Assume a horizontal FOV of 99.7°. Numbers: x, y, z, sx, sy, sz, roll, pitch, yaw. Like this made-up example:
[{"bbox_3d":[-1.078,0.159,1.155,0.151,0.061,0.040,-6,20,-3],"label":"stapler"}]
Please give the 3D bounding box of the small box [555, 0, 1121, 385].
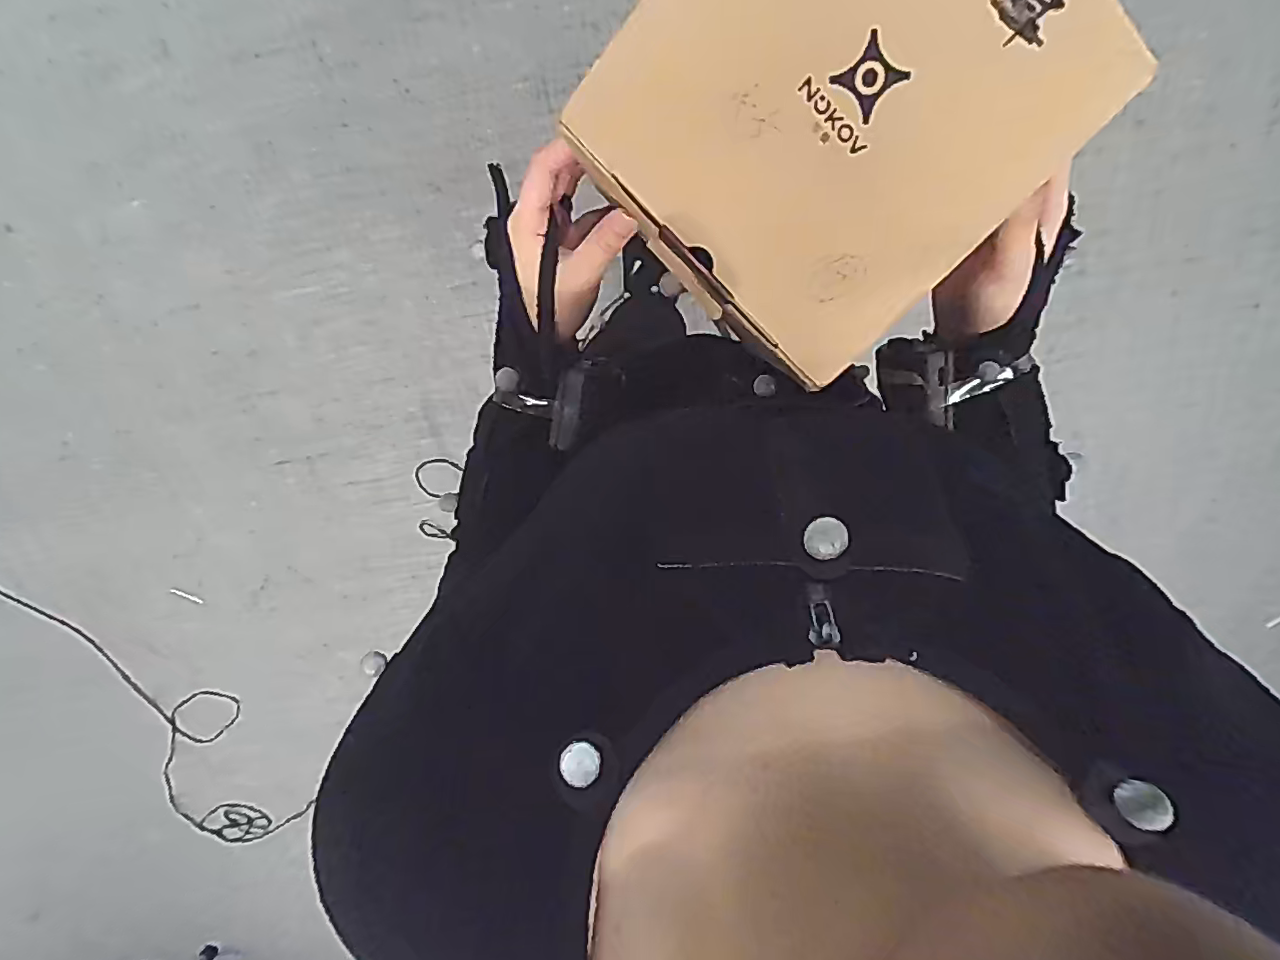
[{"bbox_3d":[0.083,-0.183,0.300,0.168,0.176,0.179,41,107,-12],"label":"small box"}]
